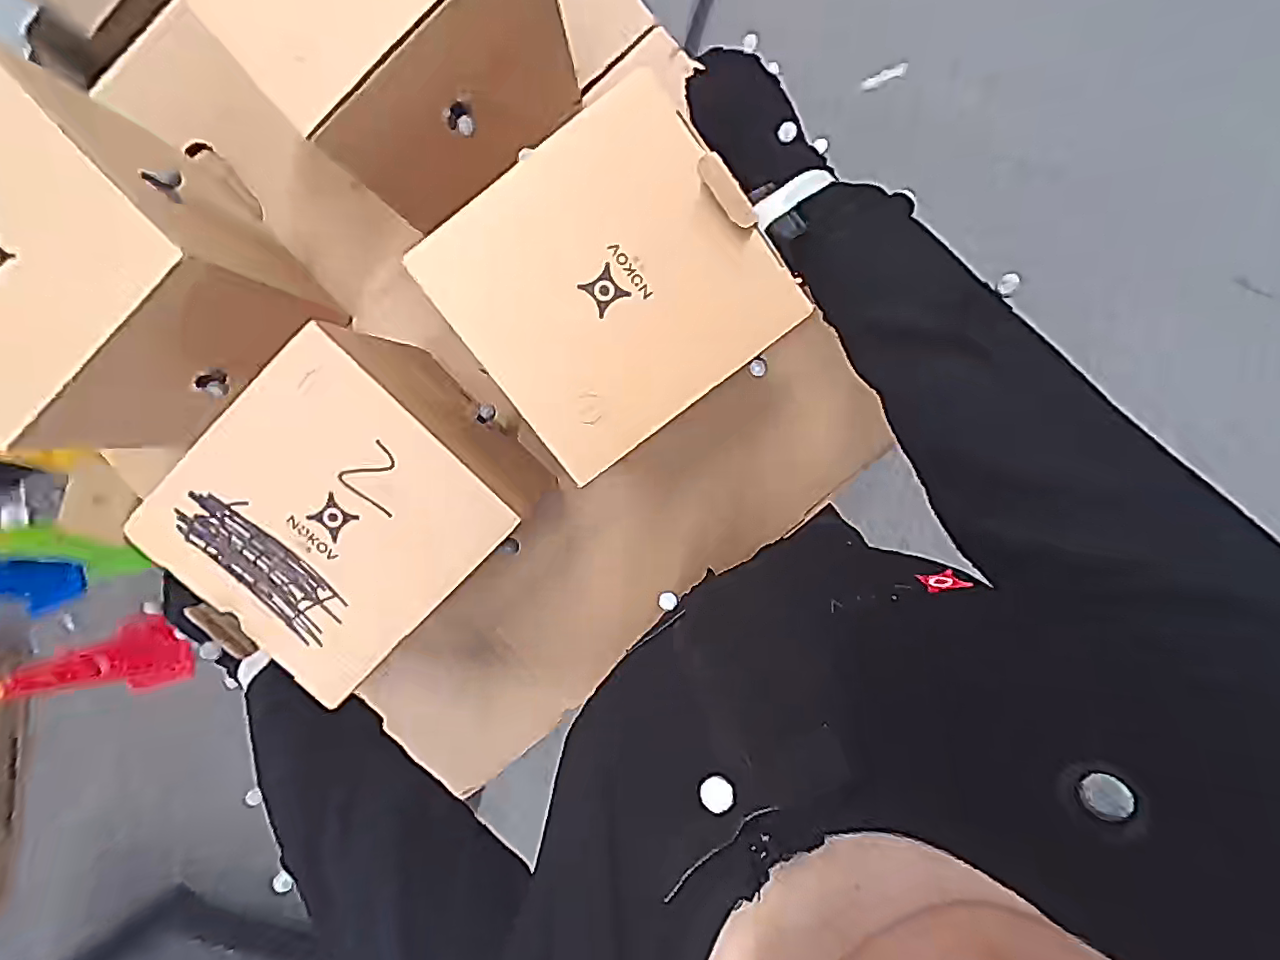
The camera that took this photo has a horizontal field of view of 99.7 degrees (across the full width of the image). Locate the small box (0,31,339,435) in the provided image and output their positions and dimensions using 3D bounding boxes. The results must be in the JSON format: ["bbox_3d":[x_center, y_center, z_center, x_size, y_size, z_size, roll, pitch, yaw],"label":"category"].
[{"bbox_3d":[-0.369,-0.151,0.393,0.168,0.176,0.179,-41,92,5],"label":"small box"}]
